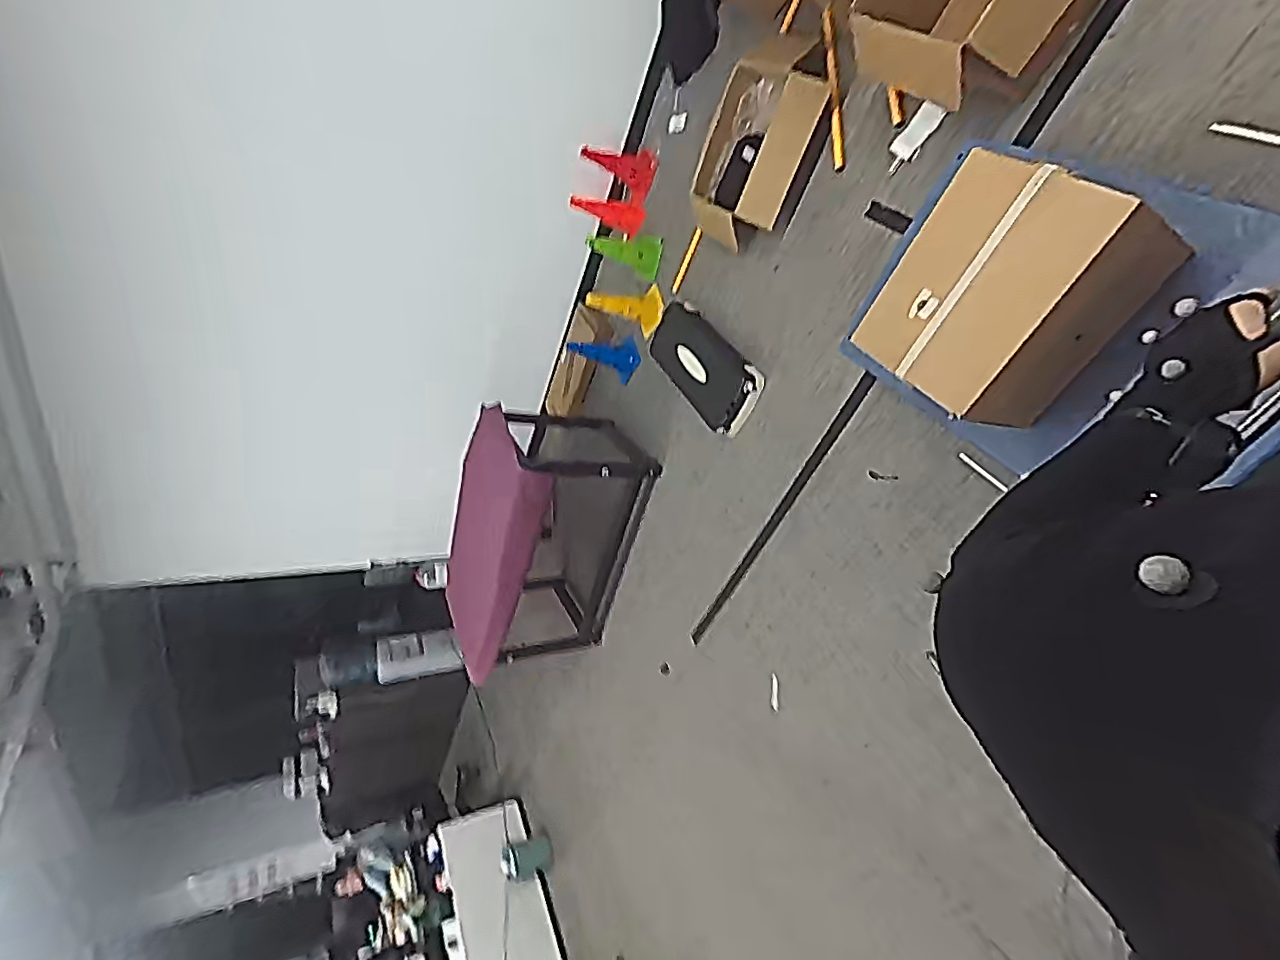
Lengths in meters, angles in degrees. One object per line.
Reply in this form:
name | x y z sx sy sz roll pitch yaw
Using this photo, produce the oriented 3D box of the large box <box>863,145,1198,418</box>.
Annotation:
large box | 0.753 -0.377 1.087 0.320 0.320 0.408 58 135 41
